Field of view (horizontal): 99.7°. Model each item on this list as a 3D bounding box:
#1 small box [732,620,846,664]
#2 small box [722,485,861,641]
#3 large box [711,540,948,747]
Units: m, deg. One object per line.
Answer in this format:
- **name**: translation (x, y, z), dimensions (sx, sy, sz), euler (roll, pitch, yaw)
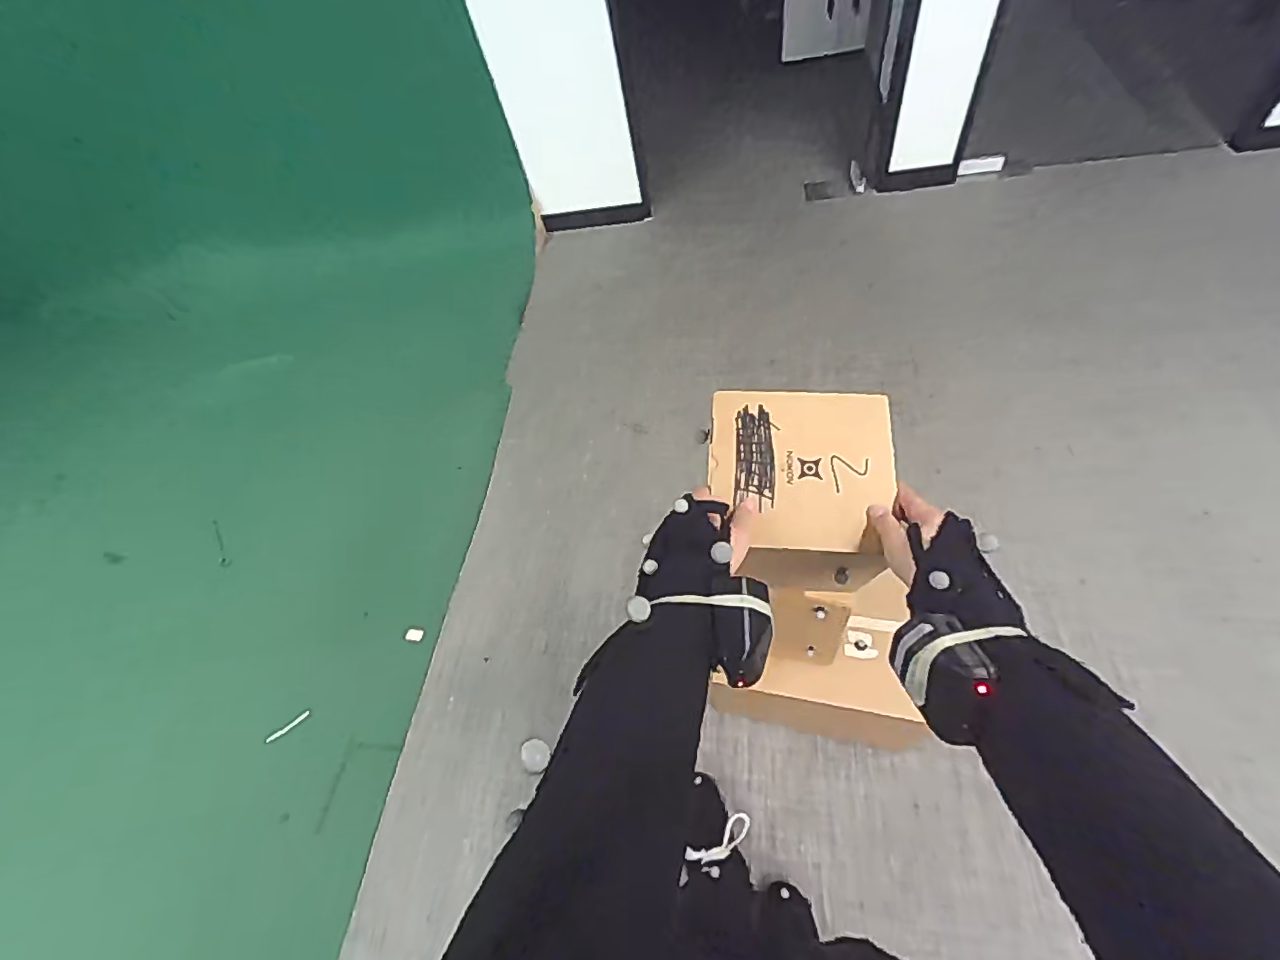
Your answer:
- **small box**: translation (0.262, 0.214, 0.954), dimensions (0.179, 0.176, 0.168), euler (5, 57, 16)
- **small box**: translation (0.227, 0.129, 0.819), dimensions (0.179, 0.176, 0.168), euler (7, 58, 15)
- **large box**: translation (0.371, 0.342, 1.141), dimensions (0.408, 0.320, 0.320), euler (6, 59, 14)
